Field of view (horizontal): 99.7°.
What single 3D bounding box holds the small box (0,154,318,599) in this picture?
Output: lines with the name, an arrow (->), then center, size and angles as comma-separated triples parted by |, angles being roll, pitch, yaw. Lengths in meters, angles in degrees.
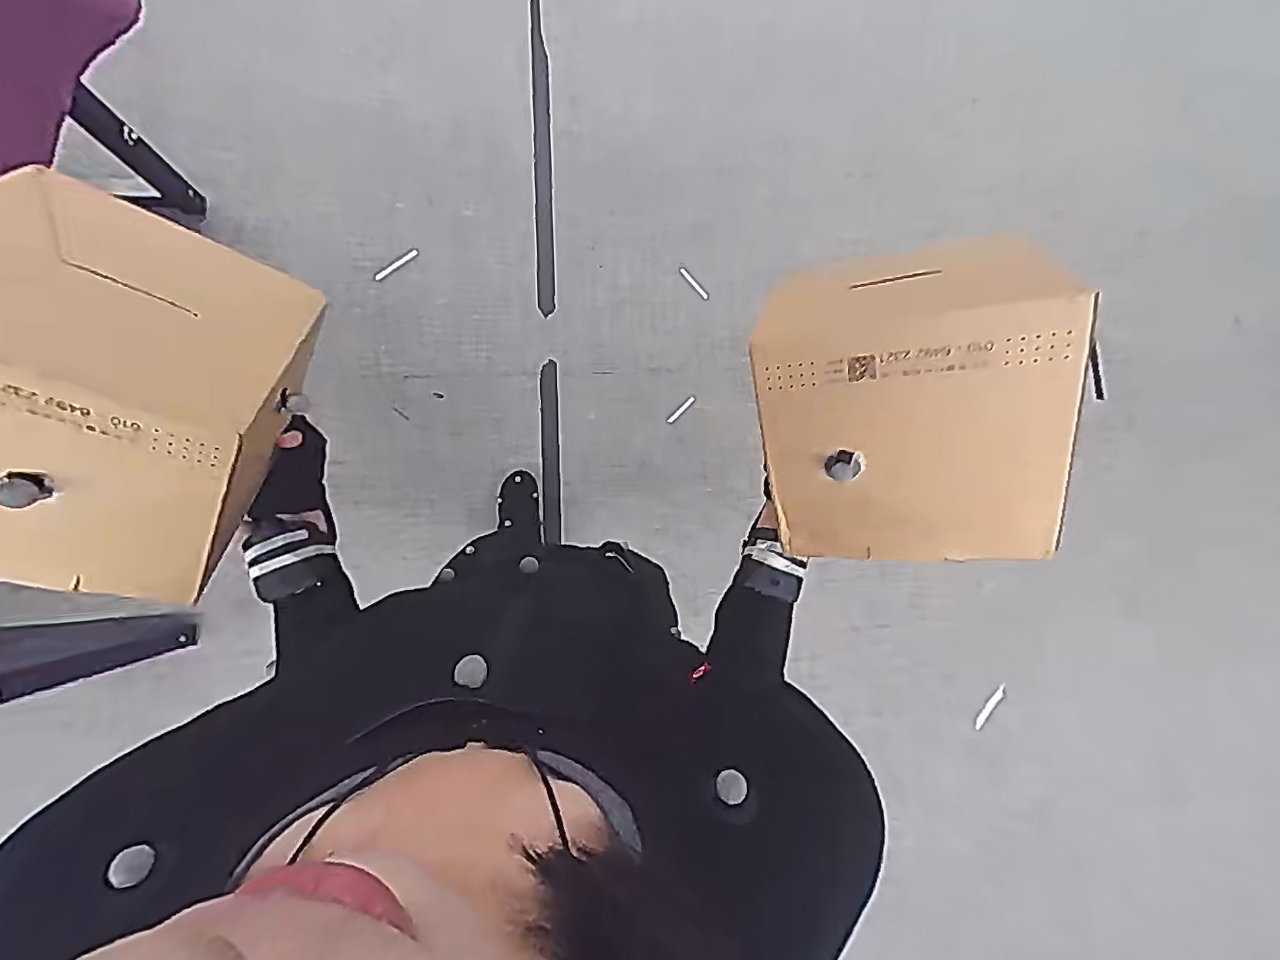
small box -> -0.326, -0.061, 0.328 | 0.168, 0.179, 0.176 | 23, 124, -28
